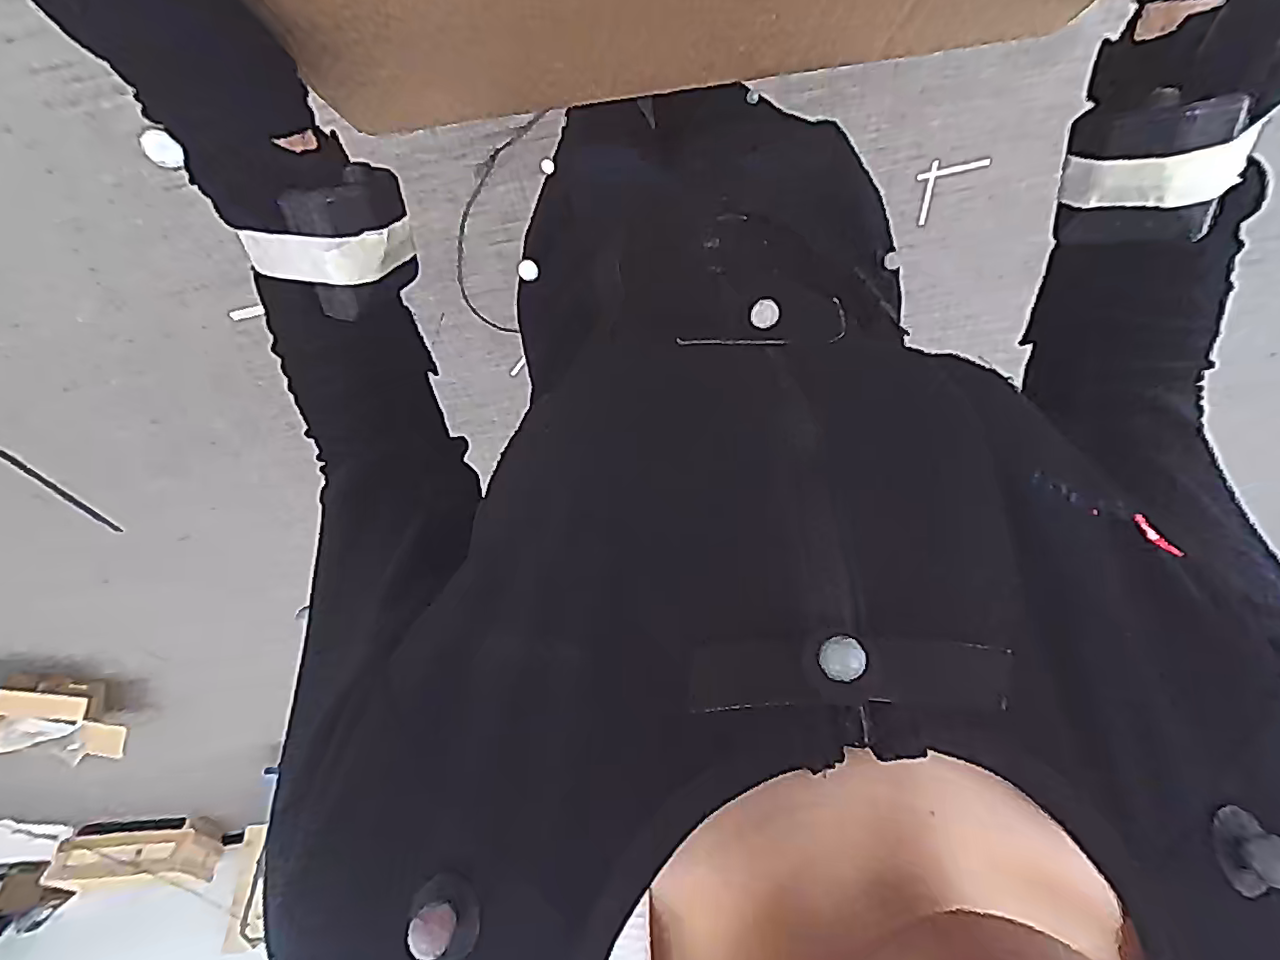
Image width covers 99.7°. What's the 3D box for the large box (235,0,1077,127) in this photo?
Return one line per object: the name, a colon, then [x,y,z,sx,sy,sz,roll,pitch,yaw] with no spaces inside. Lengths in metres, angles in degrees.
large box: [0.011,-0.361,0.148,0.408,0.320,0.320,-6,99,2]
